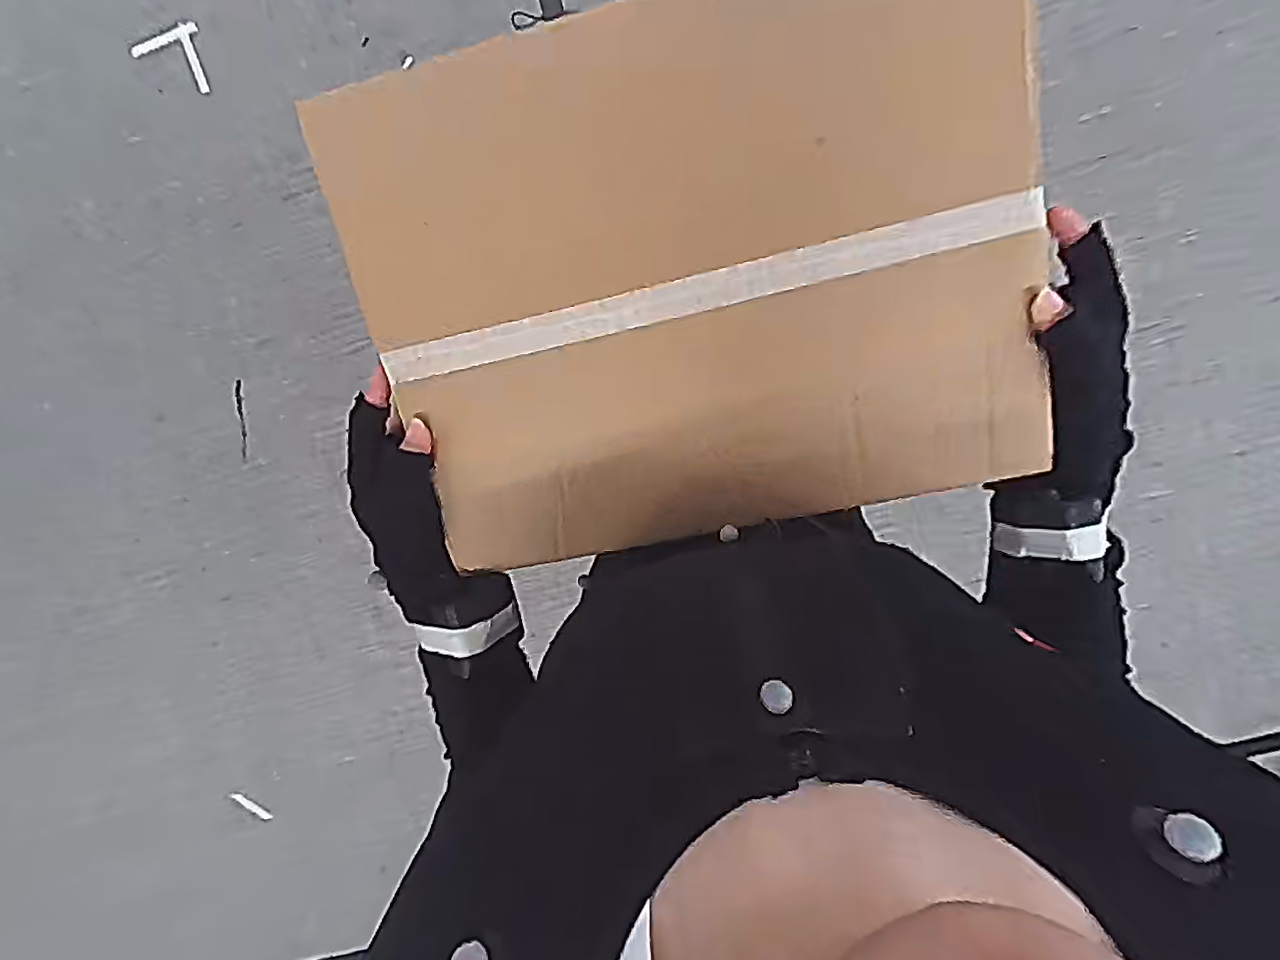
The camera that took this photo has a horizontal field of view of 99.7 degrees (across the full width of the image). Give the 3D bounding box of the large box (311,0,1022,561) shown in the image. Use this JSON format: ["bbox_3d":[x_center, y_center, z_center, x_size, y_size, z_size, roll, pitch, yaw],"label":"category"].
[{"bbox_3d":[0.036,-0.165,0.482,0.408,0.320,0.320,-11,105,8],"label":"large box"}]
